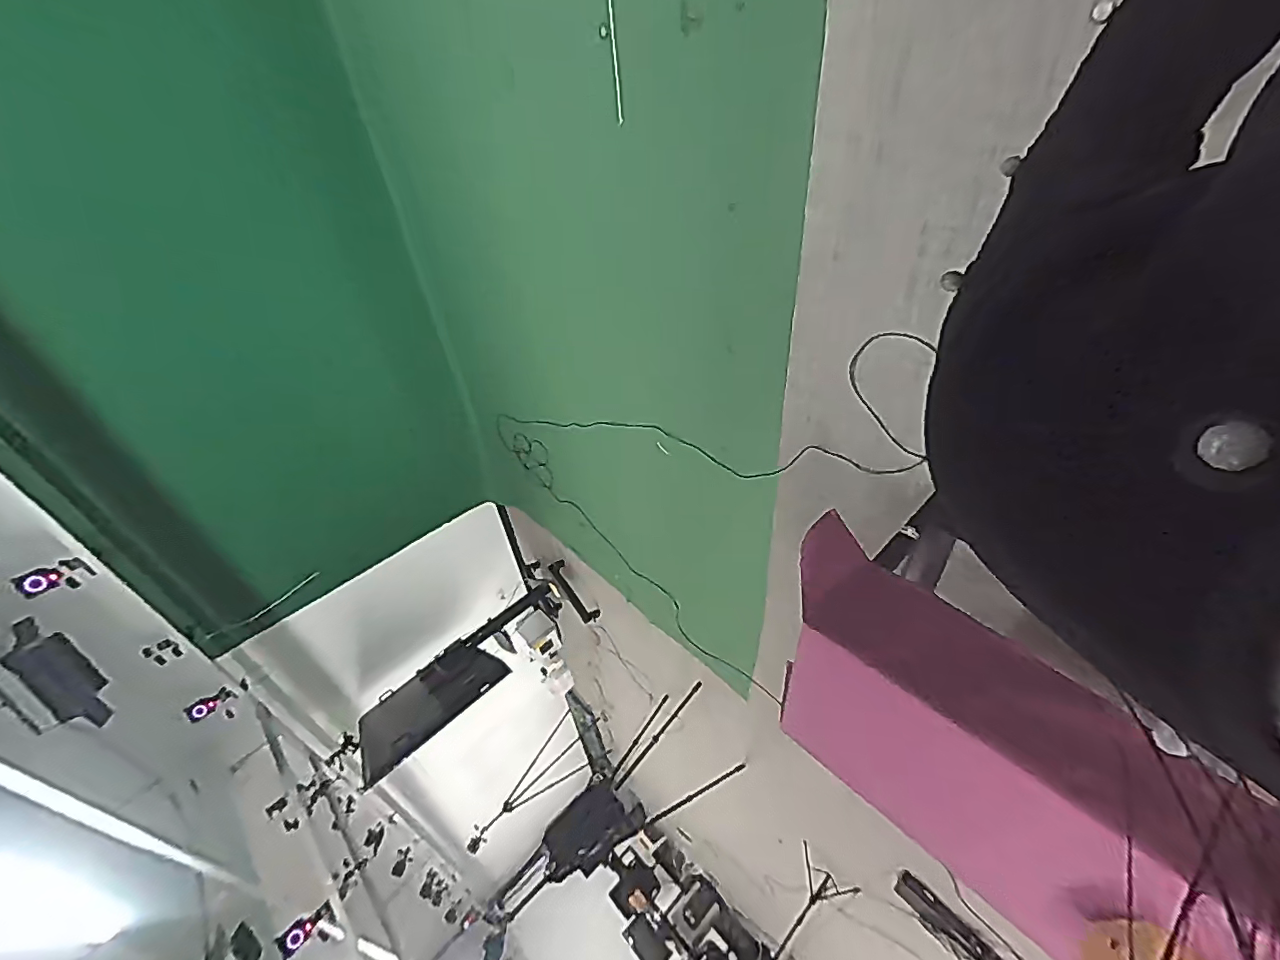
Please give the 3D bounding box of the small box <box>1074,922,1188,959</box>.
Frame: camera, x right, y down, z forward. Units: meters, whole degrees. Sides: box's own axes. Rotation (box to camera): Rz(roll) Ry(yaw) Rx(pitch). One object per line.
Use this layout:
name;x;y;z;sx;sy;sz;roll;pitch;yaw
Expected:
small box;0.937;0.963;0.990;0.179;0.176;0.168;41;147;27
